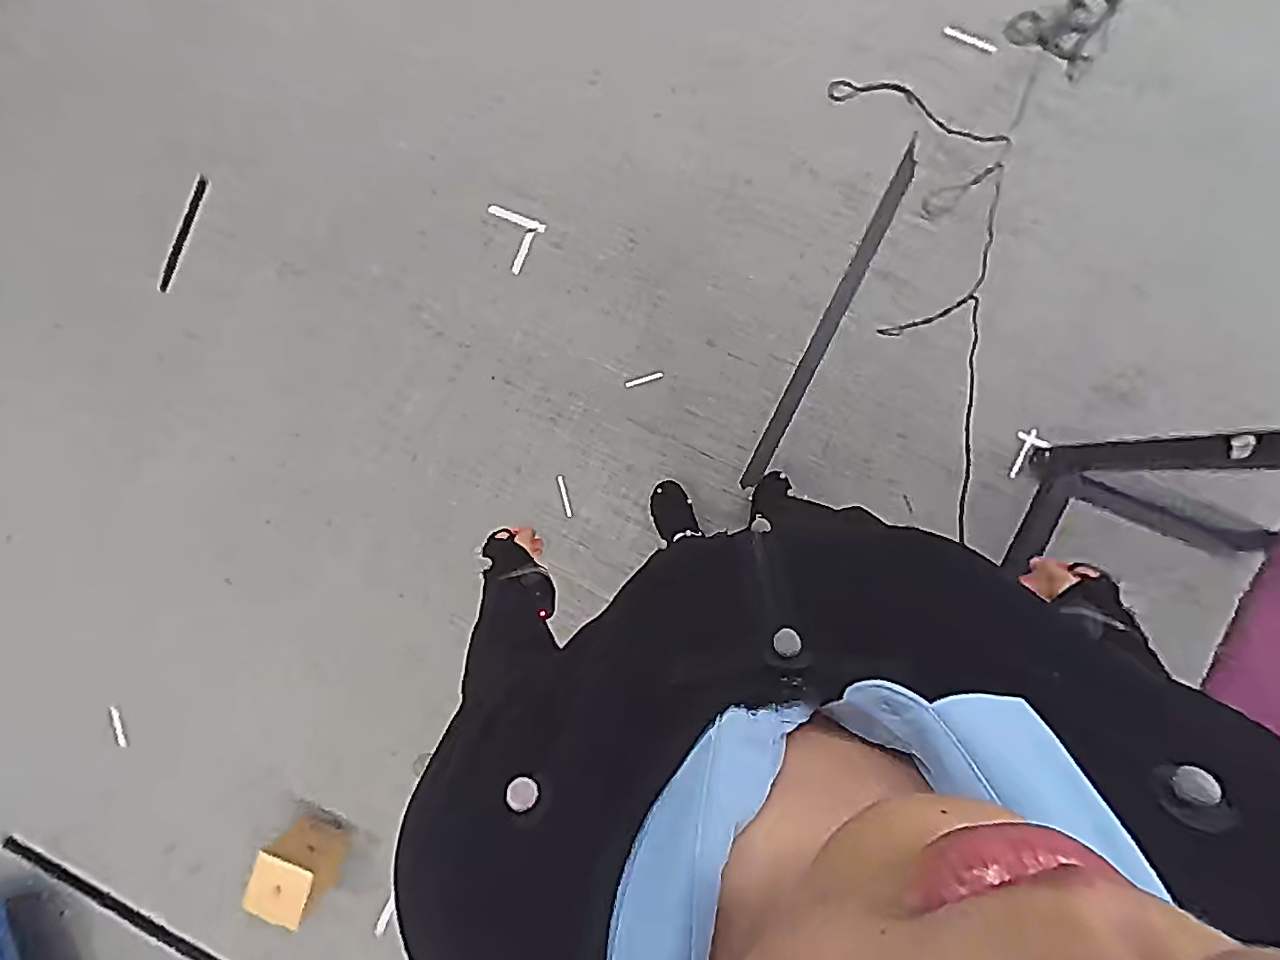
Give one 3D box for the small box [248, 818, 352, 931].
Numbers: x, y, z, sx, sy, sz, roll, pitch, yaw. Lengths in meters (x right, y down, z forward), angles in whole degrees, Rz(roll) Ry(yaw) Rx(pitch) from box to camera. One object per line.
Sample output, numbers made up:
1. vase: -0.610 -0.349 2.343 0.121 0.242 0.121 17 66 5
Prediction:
1. small box: -0.961 1.116 1.546 0.168 0.176 0.179 18 93 5
